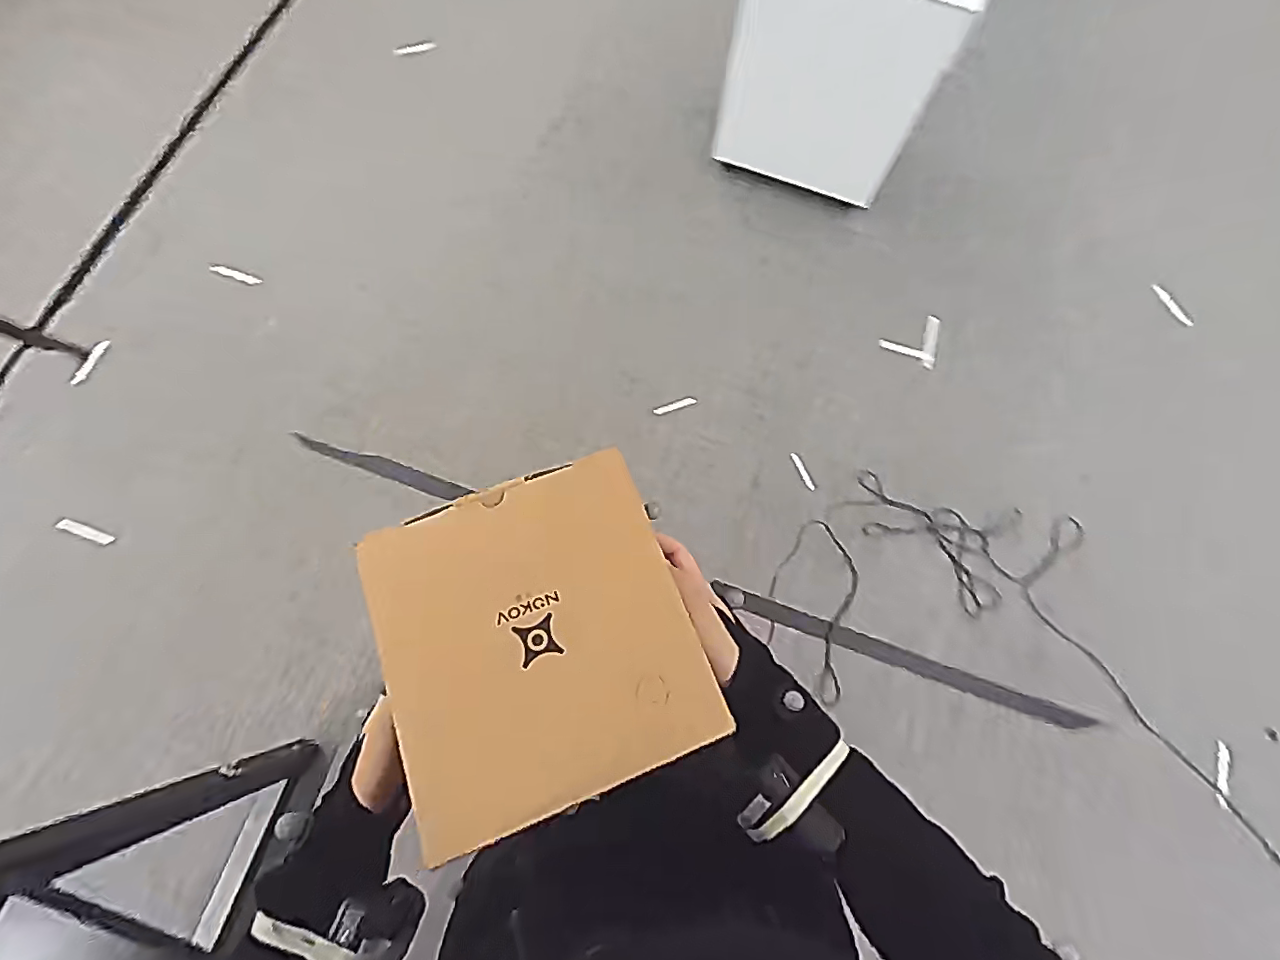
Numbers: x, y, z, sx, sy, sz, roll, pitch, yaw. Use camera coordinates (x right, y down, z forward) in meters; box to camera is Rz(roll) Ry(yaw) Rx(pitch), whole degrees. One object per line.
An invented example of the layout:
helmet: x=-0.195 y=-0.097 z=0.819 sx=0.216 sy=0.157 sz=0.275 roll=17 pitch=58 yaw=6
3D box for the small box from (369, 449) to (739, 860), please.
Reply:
small box: x=-0.052 y=0.108 z=0.370 sx=0.168 sy=0.176 sz=0.179 roll=-19 pitch=71 yaw=-8
